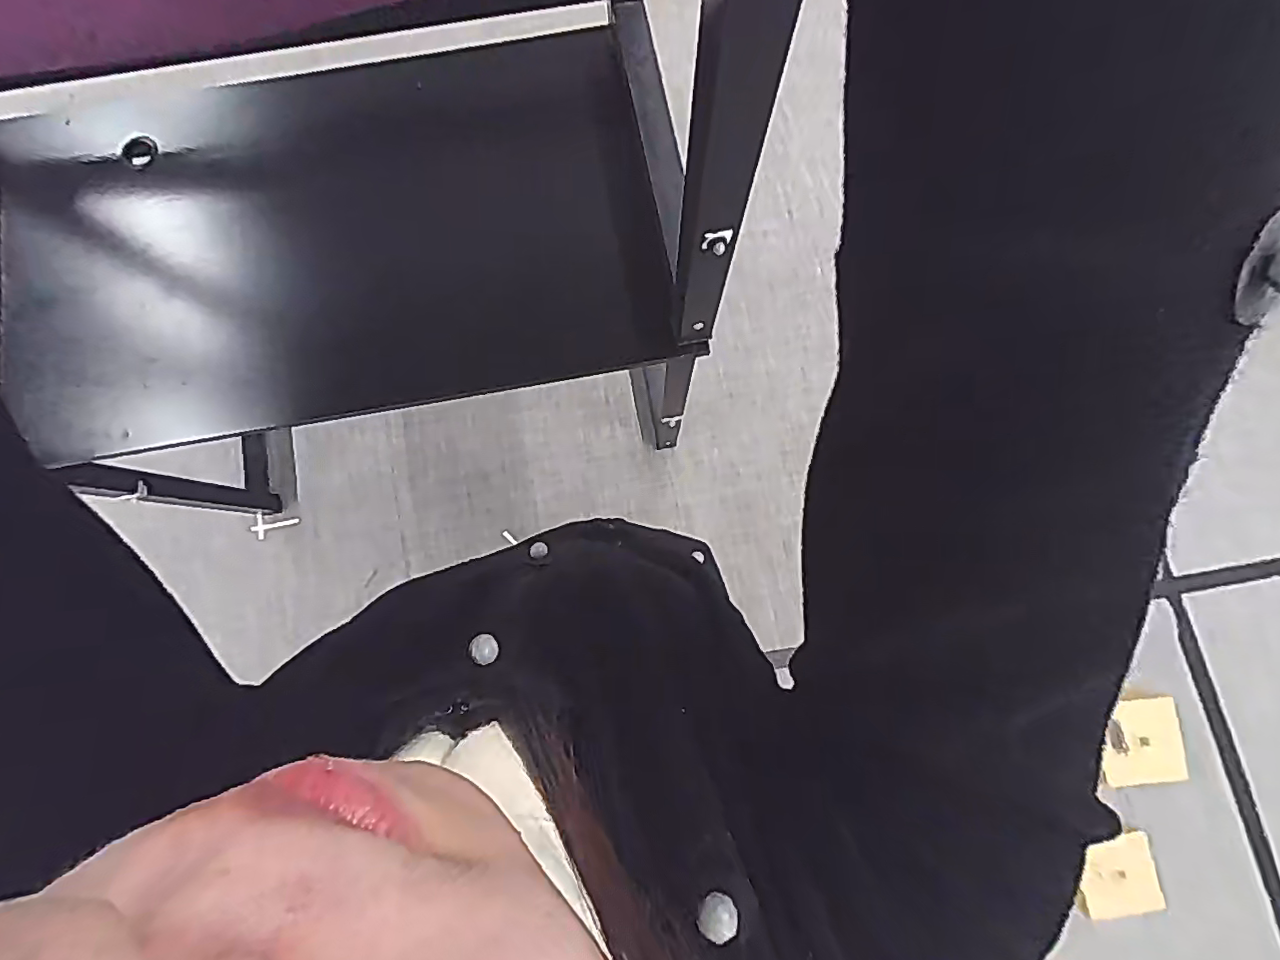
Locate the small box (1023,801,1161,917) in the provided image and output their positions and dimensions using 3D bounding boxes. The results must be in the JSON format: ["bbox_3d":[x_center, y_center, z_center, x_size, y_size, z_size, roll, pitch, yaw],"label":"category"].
[{"bbox_3d":[1.083,0.905,1.309,0.179,0.176,0.168,-9,81,-1],"label":"small box"}]

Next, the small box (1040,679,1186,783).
[{"bbox_3d":[1.025,0.546,1.194,0.179,0.176,0.168,-4,82,-1],"label":"small box"}]
